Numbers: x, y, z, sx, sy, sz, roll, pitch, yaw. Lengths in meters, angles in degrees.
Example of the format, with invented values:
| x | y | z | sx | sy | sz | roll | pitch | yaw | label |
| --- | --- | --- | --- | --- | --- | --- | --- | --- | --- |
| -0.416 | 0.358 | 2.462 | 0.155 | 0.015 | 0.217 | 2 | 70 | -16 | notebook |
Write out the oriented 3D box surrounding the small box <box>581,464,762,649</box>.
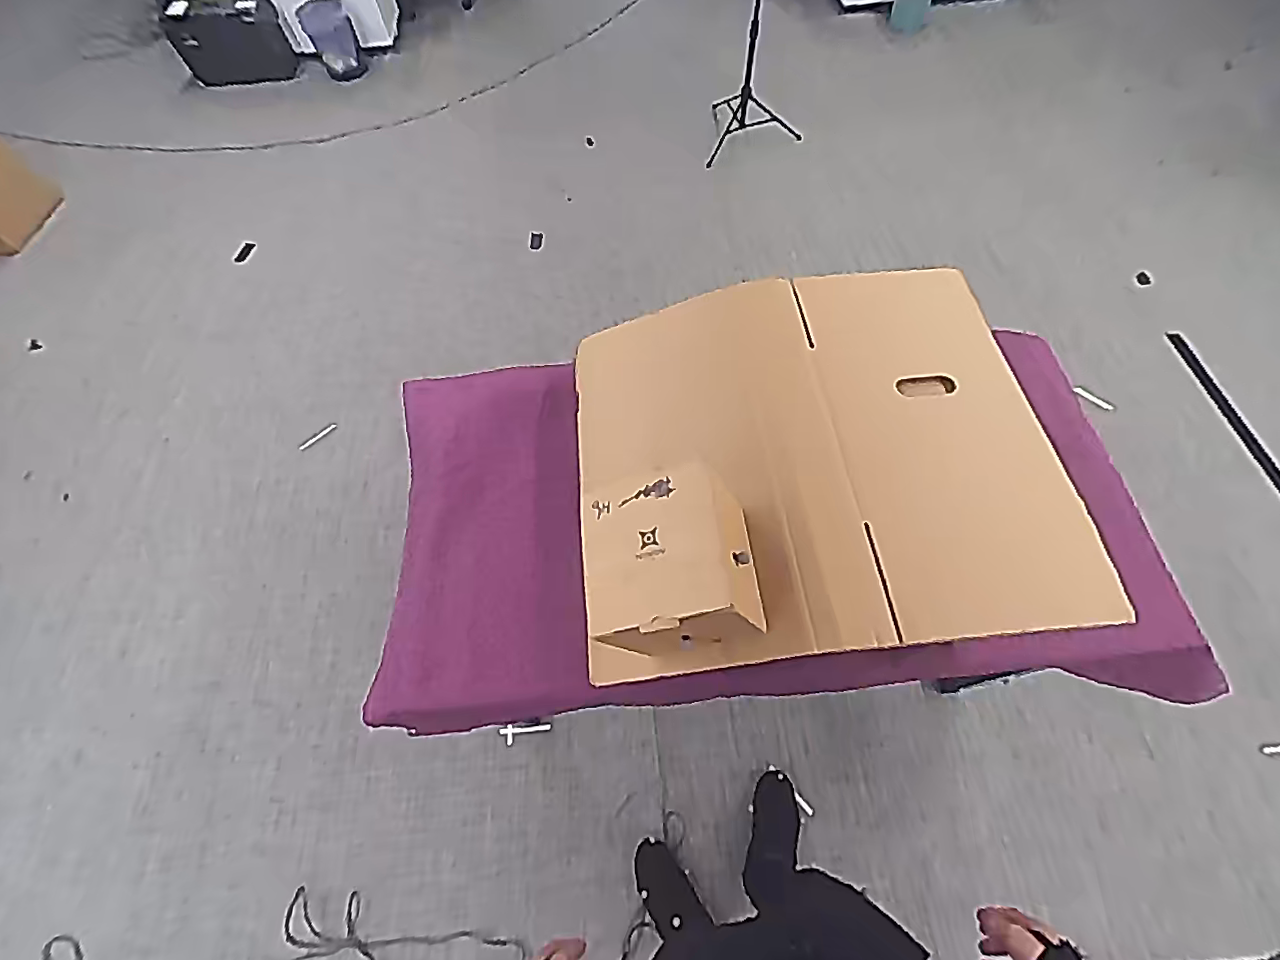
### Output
| x | y | z | sx | sy | sz | roll | pitch | yaw | label |
| --- | --- | --- | --- | --- | --- | --- | --- | --- | --- |
| 0.043 | 0.107 | 0.670 | 0.168 | 0.176 | 0.179 | -17 | 62 | 18 | small box |
